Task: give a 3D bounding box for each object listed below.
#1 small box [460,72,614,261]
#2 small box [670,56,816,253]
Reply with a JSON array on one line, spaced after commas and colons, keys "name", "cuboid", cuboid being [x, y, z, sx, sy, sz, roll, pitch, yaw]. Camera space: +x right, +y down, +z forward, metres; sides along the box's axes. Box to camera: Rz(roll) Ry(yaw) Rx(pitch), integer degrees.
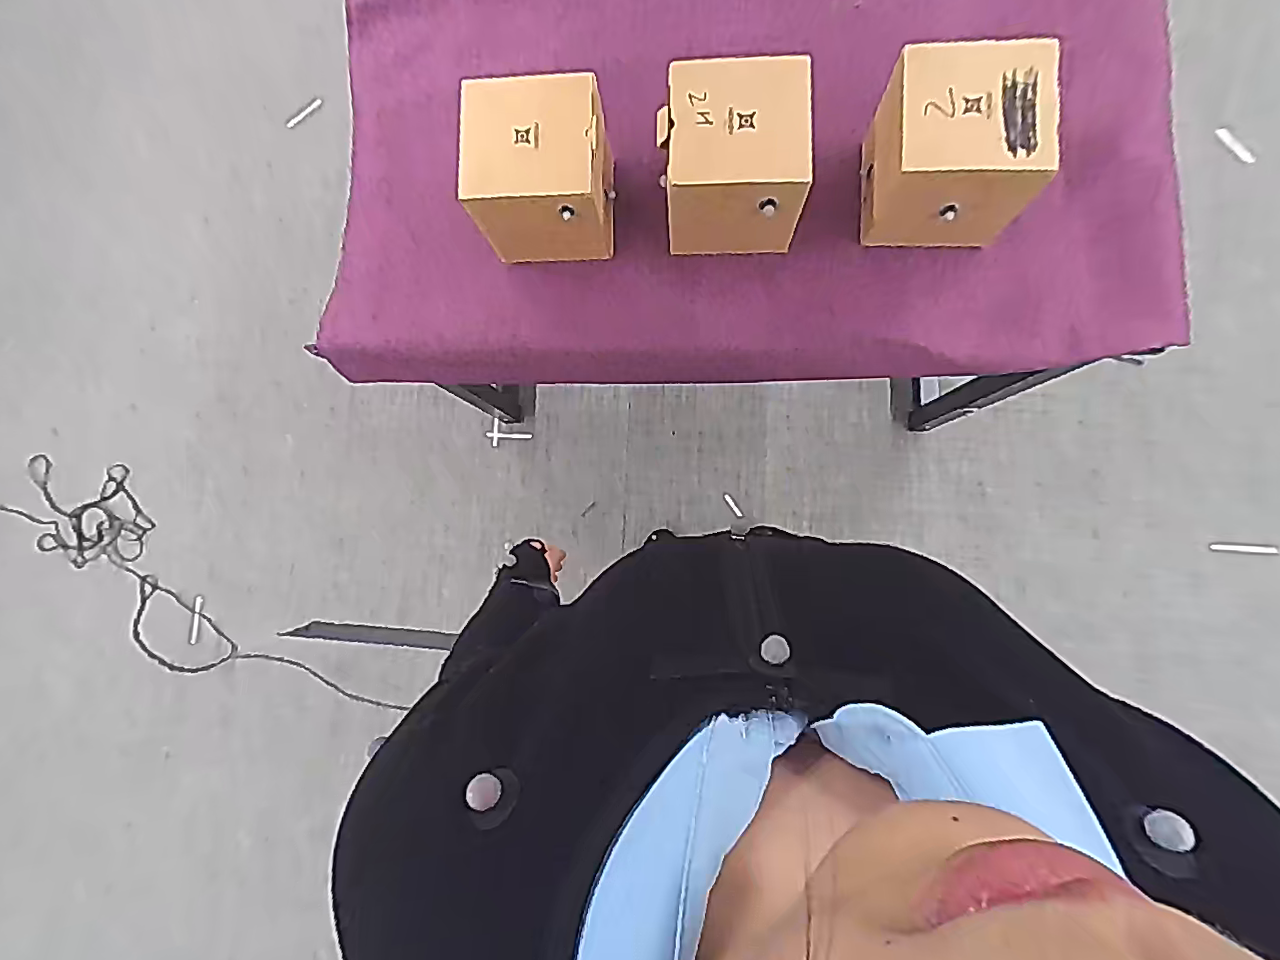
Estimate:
[{"name": "small box", "cuboid": [-0.135, -0.427, 0.763, 0.179, 0.176, 0.168, -1, 85, 4]}, {"name": "small box", "cuboid": [0.131, -0.429, 0.738, 0.179, 0.176, 0.168, 1, 84, 5]}]
